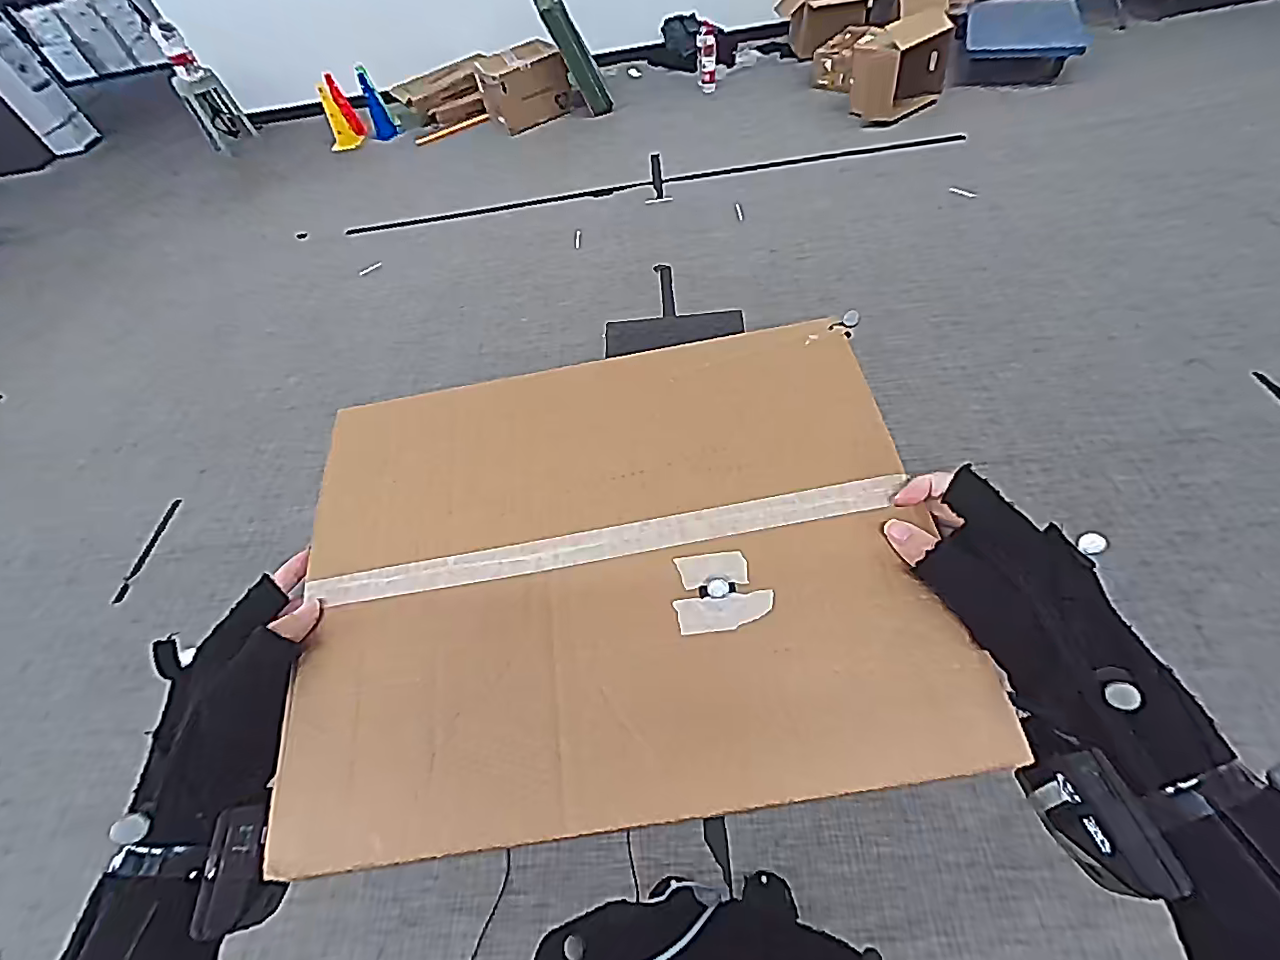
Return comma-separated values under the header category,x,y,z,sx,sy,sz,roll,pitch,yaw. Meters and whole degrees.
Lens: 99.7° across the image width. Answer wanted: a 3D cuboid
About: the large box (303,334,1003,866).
category,x,y,z,sx,sy,sz,roll,pitch,yaw
large box,-0.002,0.119,0.498,0.408,0.320,0.320,-10,61,2
